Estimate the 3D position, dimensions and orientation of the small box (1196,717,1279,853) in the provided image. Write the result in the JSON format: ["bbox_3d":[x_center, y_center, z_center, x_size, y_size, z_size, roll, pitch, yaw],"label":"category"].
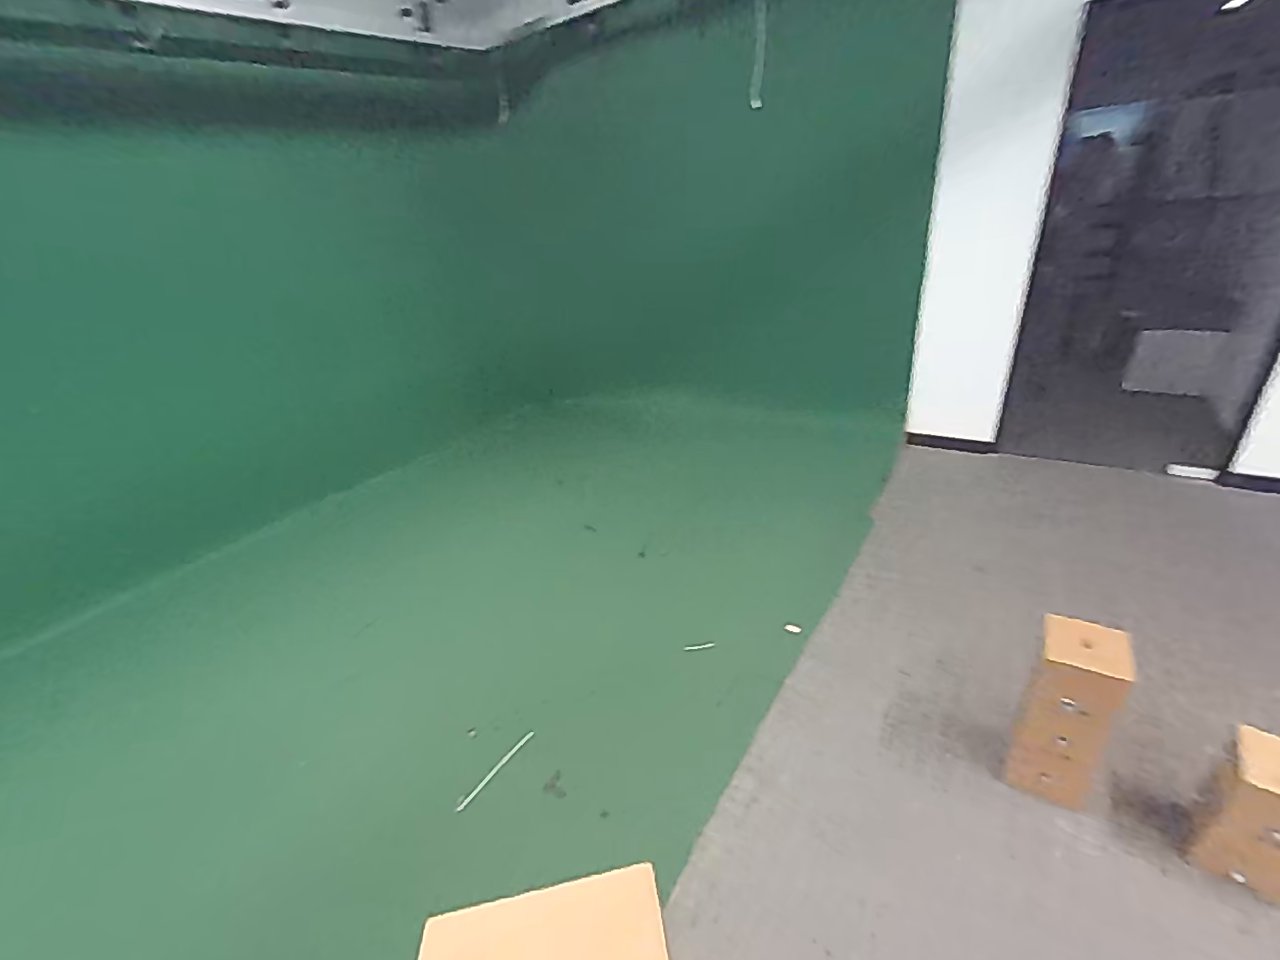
[{"bbox_3d":[1.390,0.685,1.212,0.168,0.176,0.179,16,36,37],"label":"small box"}]

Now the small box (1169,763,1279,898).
[{"bbox_3d":[1.403,0.829,1.289,0.168,0.176,0.179,18,38,38],"label":"small box"}]
